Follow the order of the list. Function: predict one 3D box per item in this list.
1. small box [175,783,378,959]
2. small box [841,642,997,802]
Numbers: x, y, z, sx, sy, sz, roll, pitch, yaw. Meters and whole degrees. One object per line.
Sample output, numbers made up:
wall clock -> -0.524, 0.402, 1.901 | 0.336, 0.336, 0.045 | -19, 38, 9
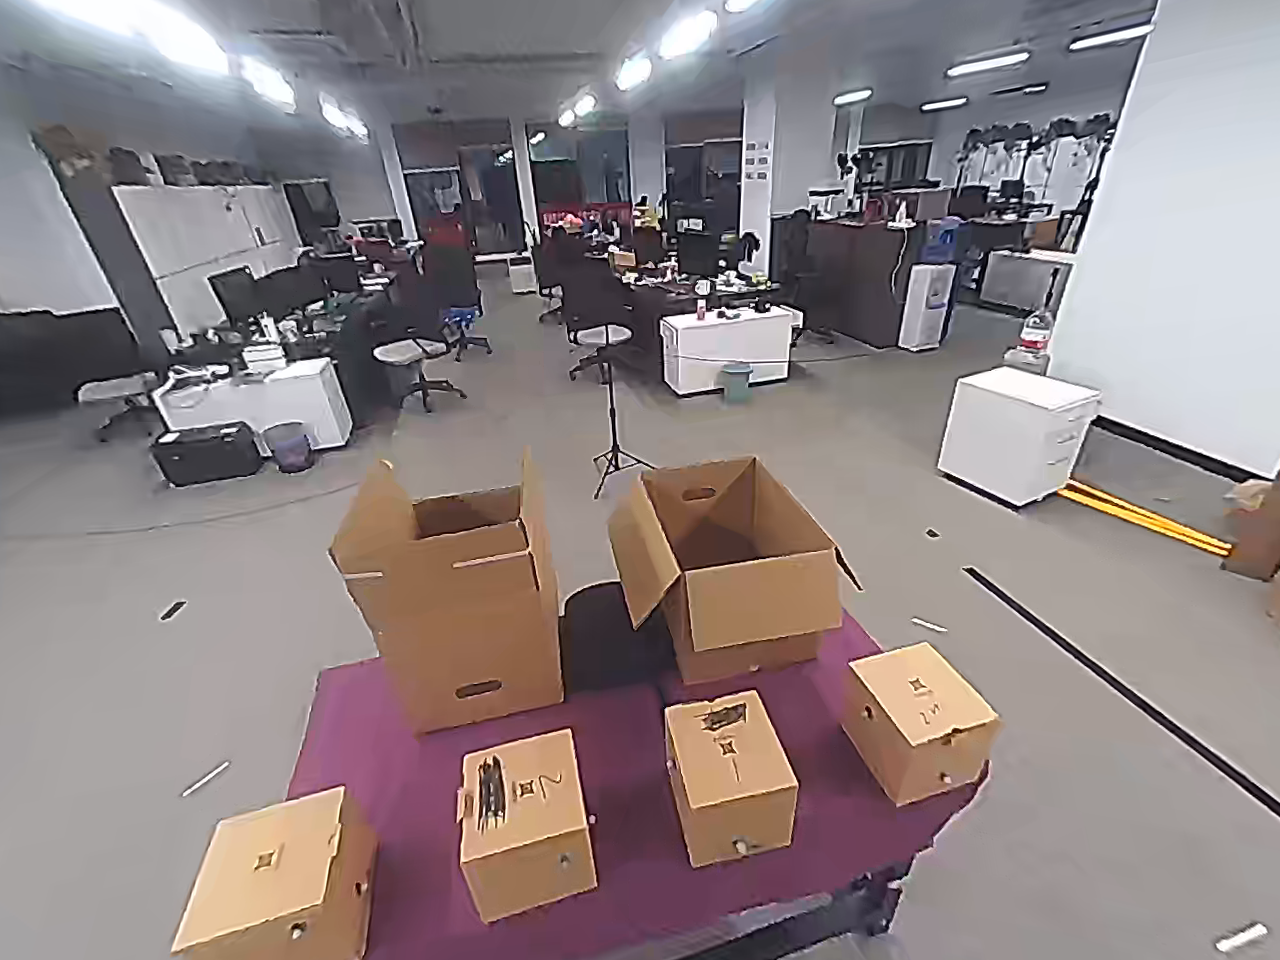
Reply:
small box -> -0.505, 0.588, 0.785 | 0.179, 0.176, 0.168 | -10, 30, -13
small box -> 0.480, 0.425, 0.961 | 0.168, 0.176, 0.179 | -11, 30, -10
